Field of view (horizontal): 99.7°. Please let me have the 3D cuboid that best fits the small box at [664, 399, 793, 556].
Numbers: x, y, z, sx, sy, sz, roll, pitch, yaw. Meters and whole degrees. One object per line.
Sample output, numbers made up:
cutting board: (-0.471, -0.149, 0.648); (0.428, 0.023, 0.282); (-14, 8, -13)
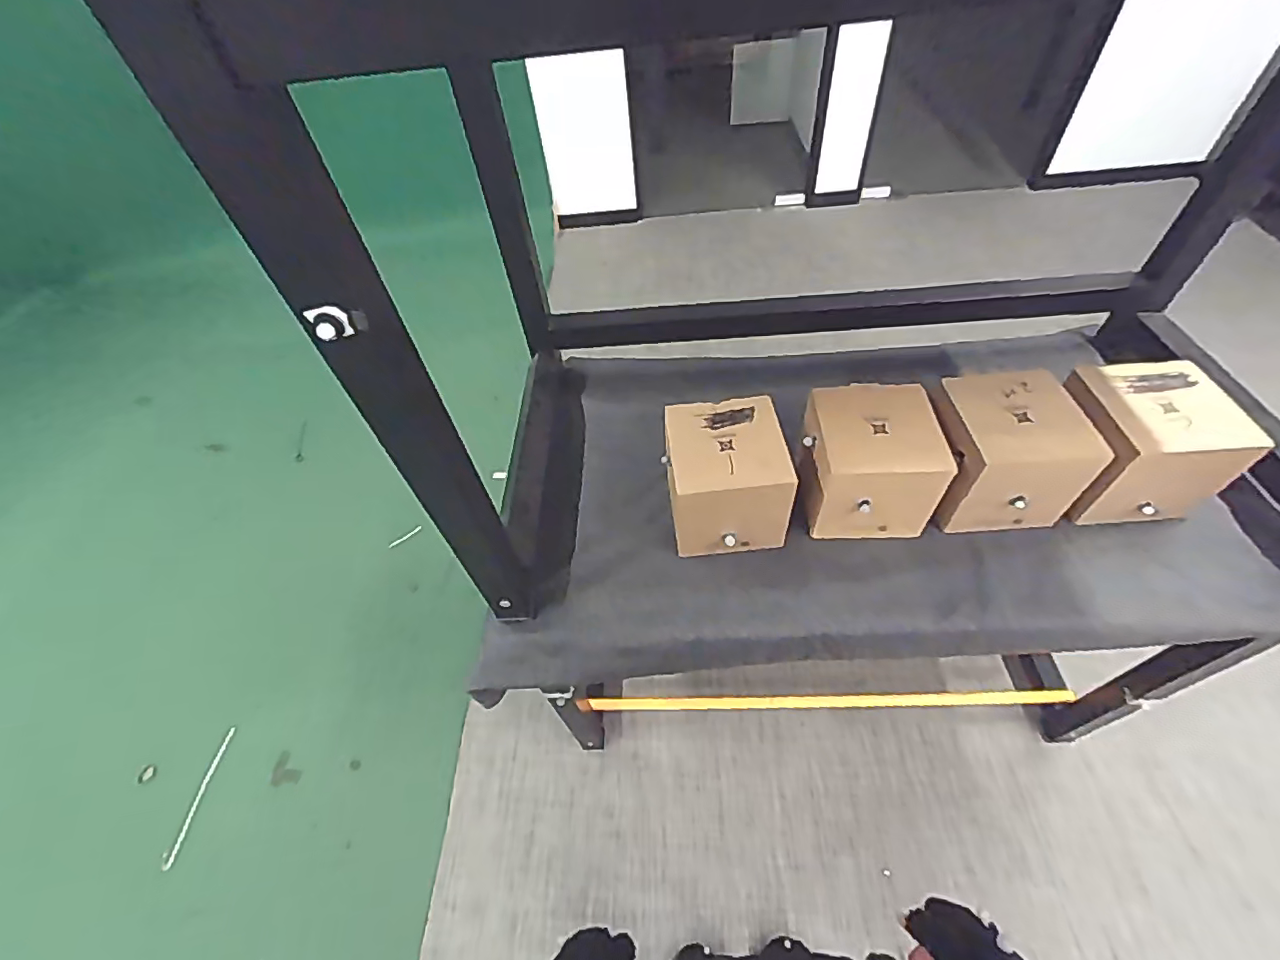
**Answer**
small box: (0.128, -0.002, 0.851); (0.168, 0.176, 0.179); (-7, 51, 1)
